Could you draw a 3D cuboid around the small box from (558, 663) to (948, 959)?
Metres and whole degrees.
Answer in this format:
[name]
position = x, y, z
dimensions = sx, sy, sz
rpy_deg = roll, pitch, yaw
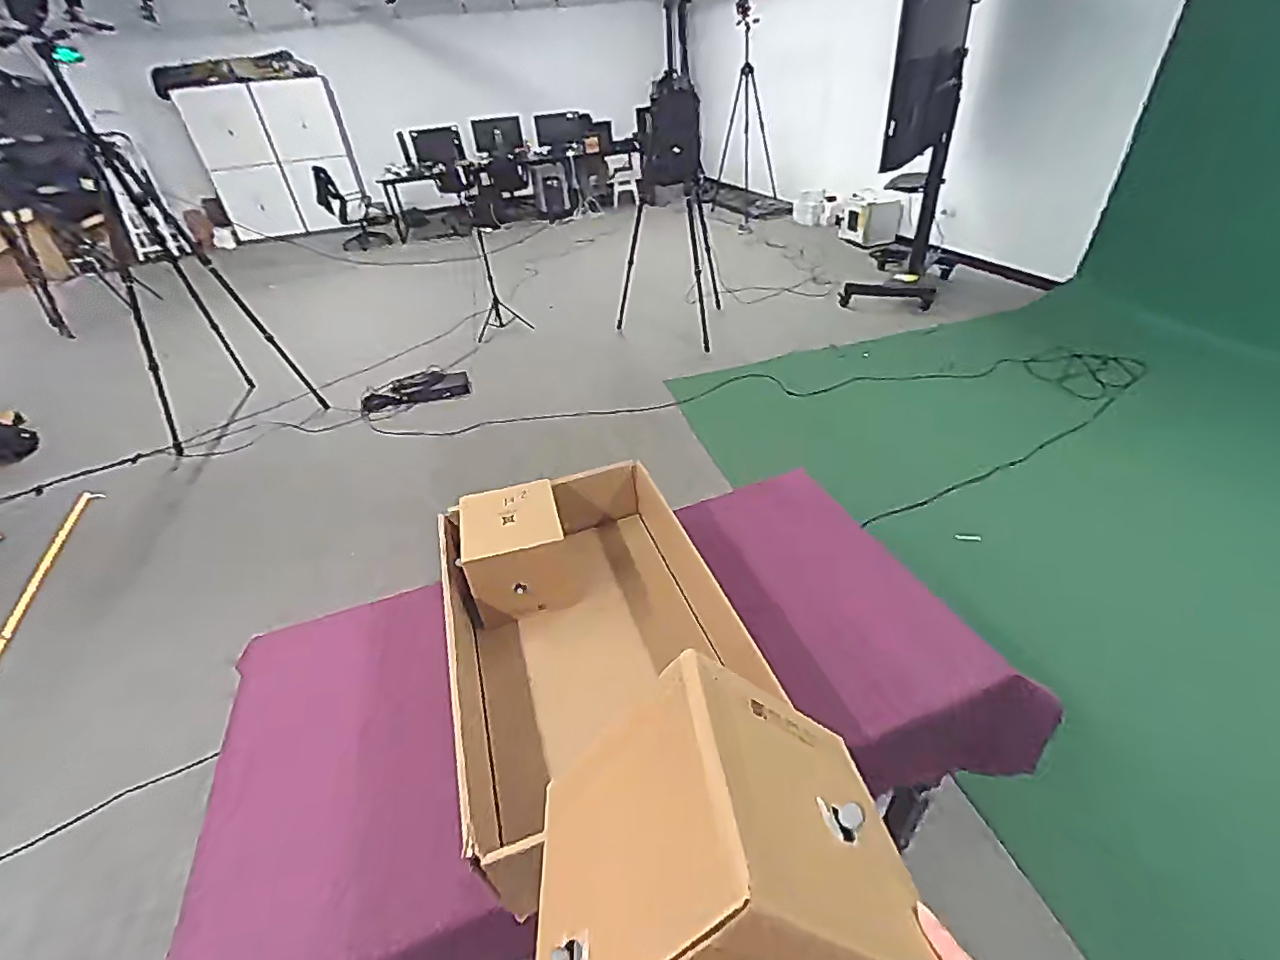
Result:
[small box]
position = 0.053, 0.261, 0.368
dimensions = 0.168, 0.179, 0.176
rpy_deg = 34, 18, -18
